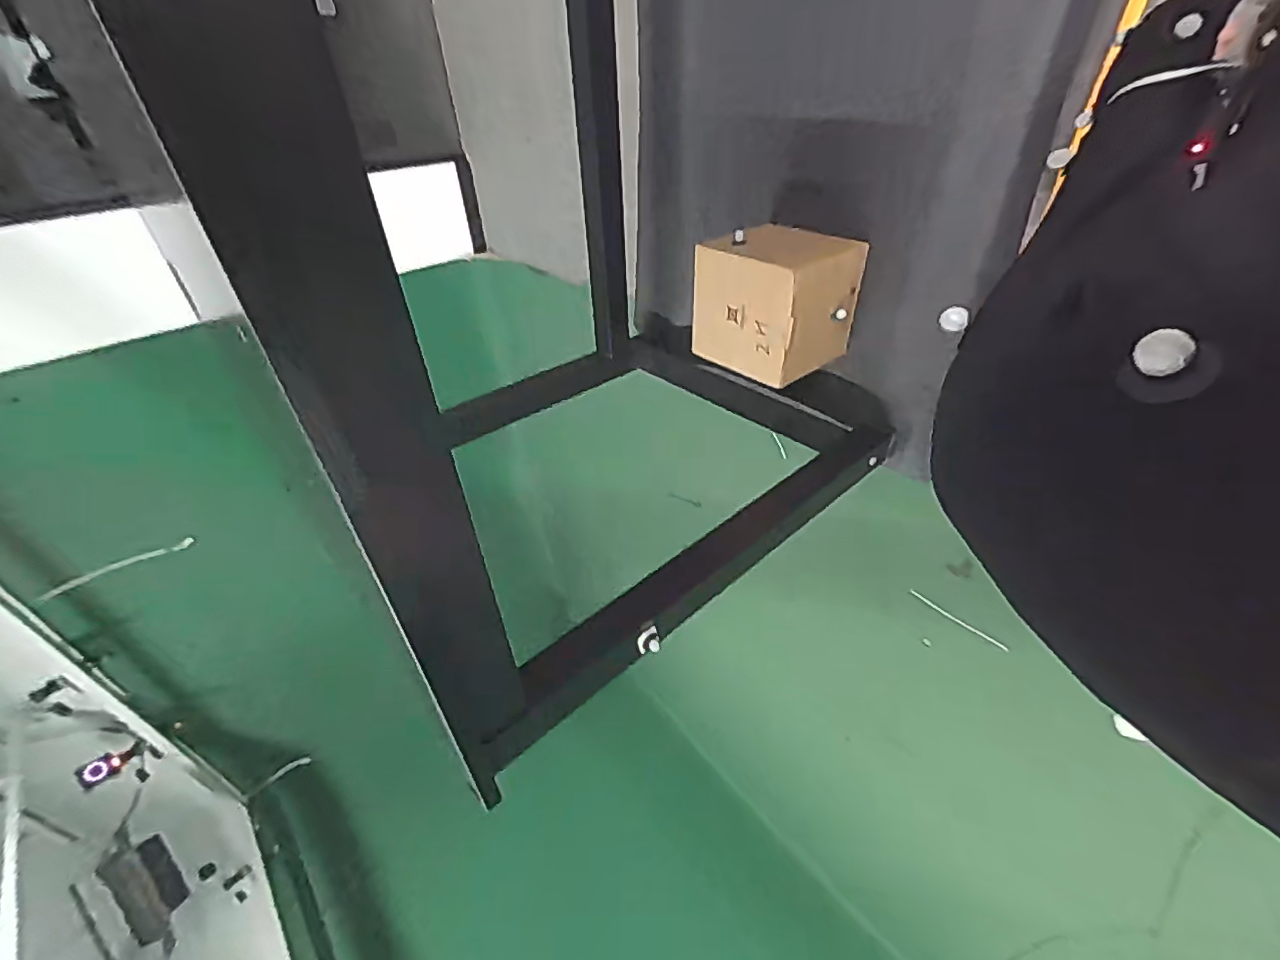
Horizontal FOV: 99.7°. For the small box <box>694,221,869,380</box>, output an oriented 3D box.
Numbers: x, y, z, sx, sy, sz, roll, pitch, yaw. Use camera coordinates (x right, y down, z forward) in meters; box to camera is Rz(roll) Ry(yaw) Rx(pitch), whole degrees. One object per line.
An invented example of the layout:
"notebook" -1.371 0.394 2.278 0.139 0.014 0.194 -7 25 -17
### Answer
"small box" 0.202 -0.274 0.801 0.179 0.176 0.168 34 142 37
